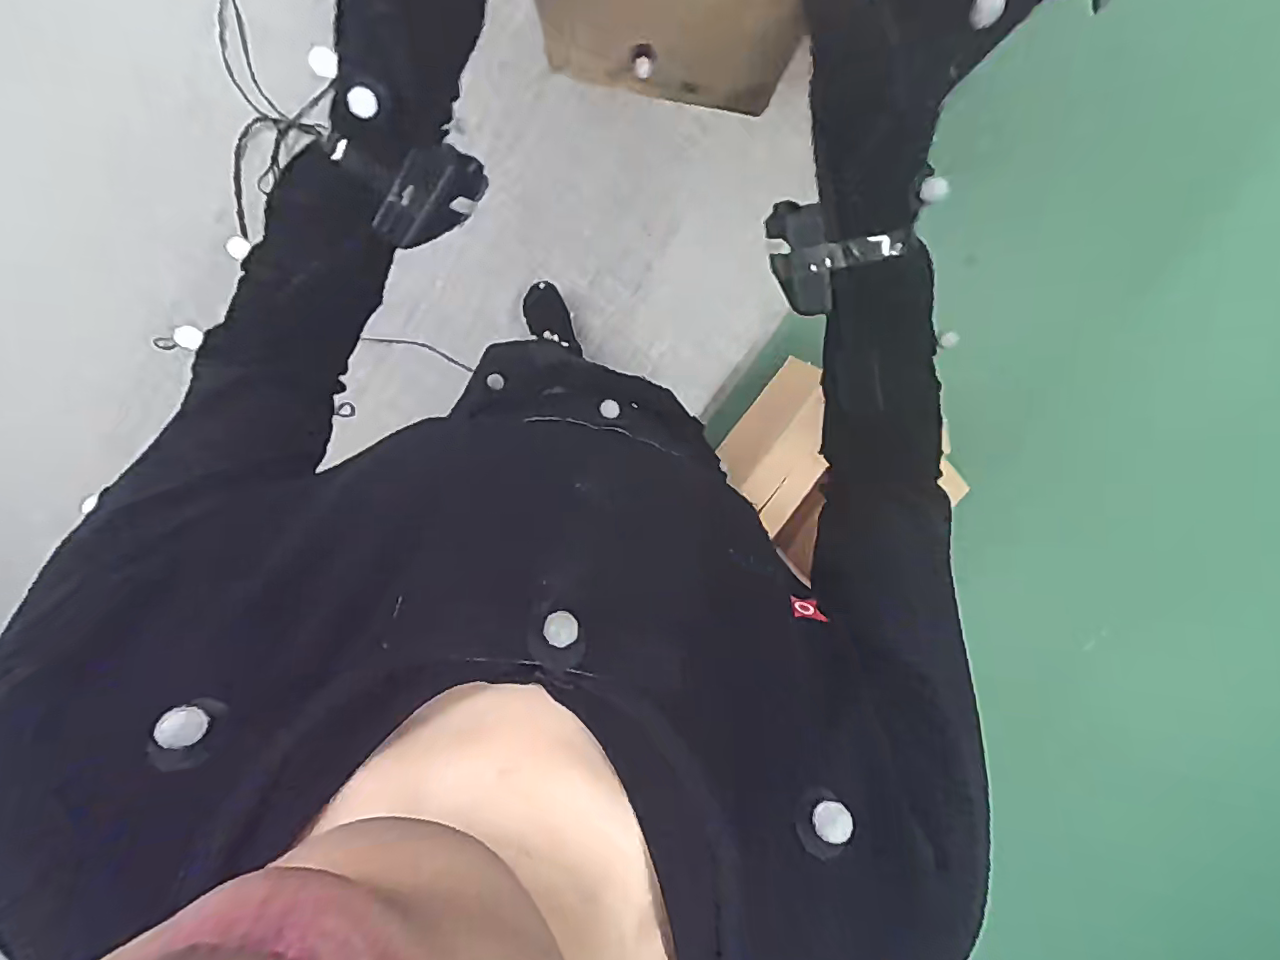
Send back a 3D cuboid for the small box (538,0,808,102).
[{"bbox_3d":[0.022,-0.367,0.320,0.168,0.176,0.179,6,103,-2],"label":"small box"}]
